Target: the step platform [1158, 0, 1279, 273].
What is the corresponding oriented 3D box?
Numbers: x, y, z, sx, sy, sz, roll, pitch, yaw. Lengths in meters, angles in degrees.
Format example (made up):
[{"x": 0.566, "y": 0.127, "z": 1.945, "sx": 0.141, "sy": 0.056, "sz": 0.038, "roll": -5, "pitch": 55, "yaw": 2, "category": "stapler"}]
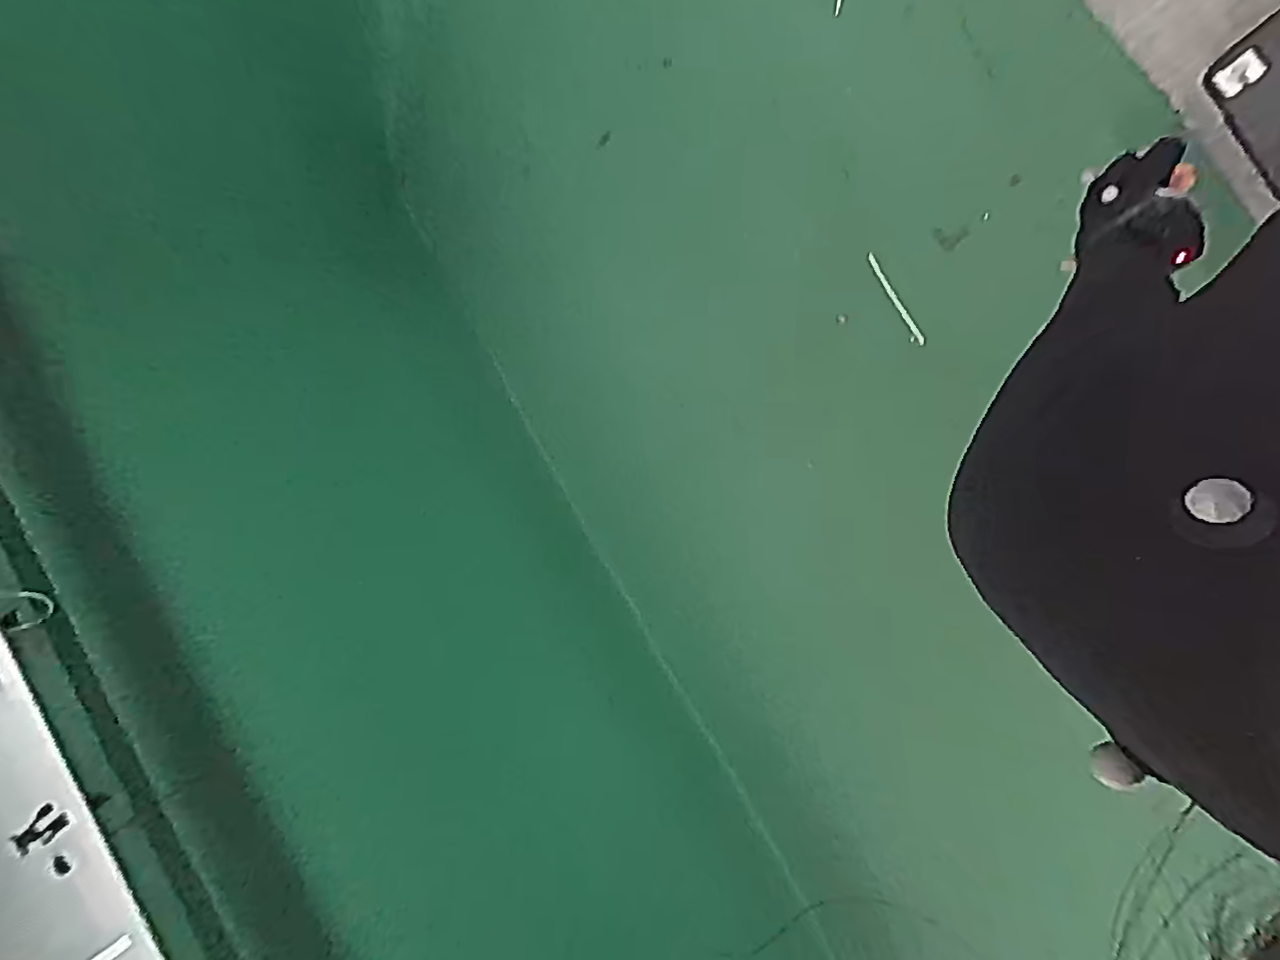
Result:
[{"x": 1.103, "y": -0.415, "z": 0.781, "sx": 0.684, "sy": 0.204, "sz": 0.286, "roll": 59, "pitch": 143, "yaw": 3, "category": "step platform"}]
